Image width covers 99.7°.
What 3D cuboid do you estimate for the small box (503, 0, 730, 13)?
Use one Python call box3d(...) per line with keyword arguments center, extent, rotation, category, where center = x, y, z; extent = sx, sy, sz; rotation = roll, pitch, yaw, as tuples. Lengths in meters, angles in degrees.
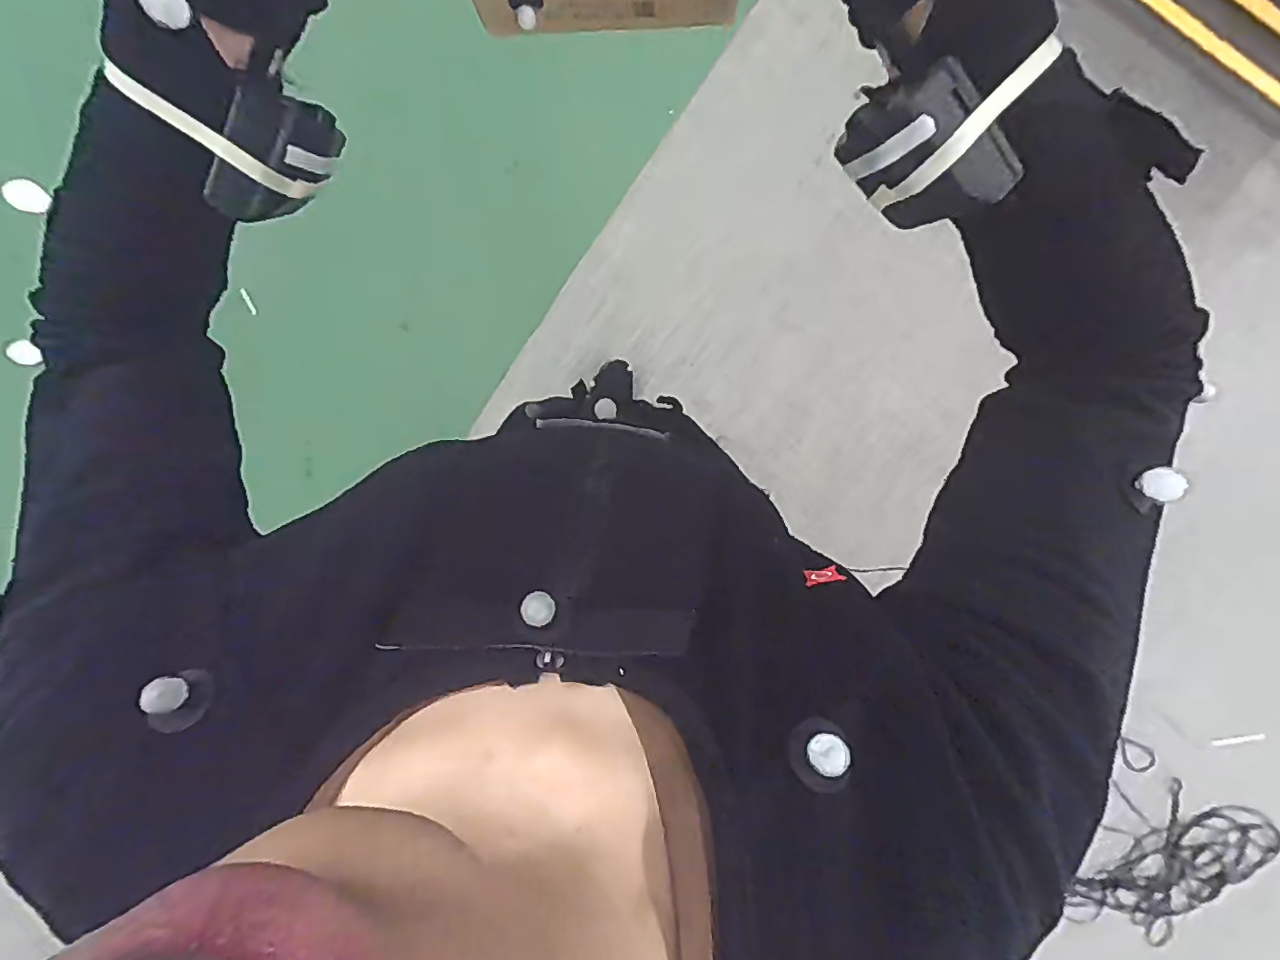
box3d(center=(-0.023, -0.365, 0.253), extent=(0.168, 0.176, 0.179), rotation=(-1, 97, 1), category="small box")
